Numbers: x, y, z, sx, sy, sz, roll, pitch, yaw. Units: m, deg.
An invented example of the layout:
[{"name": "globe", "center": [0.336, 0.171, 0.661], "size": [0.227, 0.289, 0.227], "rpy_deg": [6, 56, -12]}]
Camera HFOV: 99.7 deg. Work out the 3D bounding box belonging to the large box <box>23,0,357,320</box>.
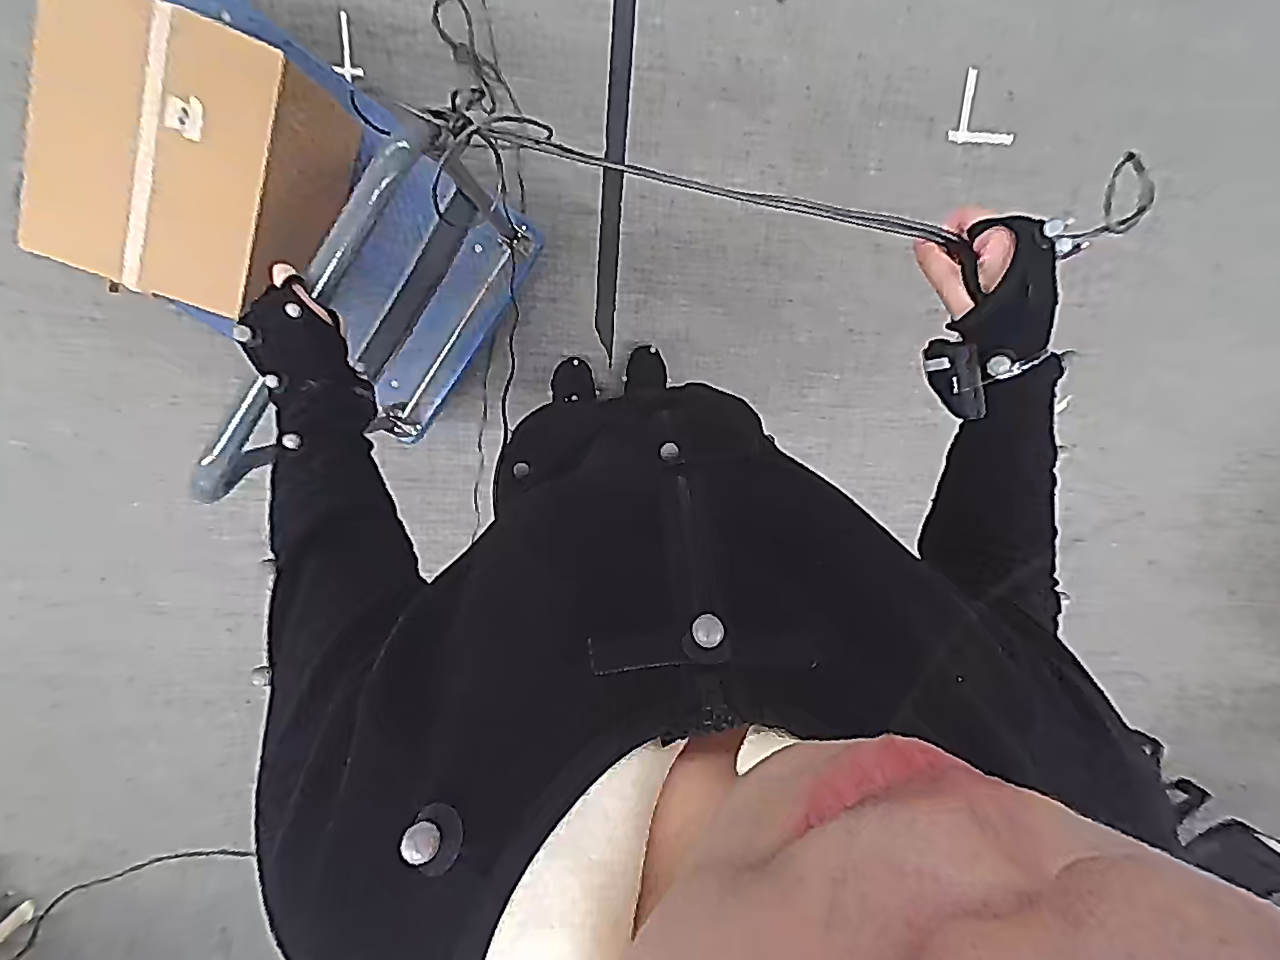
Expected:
[{"name": "large box", "center": [-0.749, -0.527, 0.949], "size": [0.320, 0.320, 0.408], "rpy_deg": [18, 103, -12]}]
